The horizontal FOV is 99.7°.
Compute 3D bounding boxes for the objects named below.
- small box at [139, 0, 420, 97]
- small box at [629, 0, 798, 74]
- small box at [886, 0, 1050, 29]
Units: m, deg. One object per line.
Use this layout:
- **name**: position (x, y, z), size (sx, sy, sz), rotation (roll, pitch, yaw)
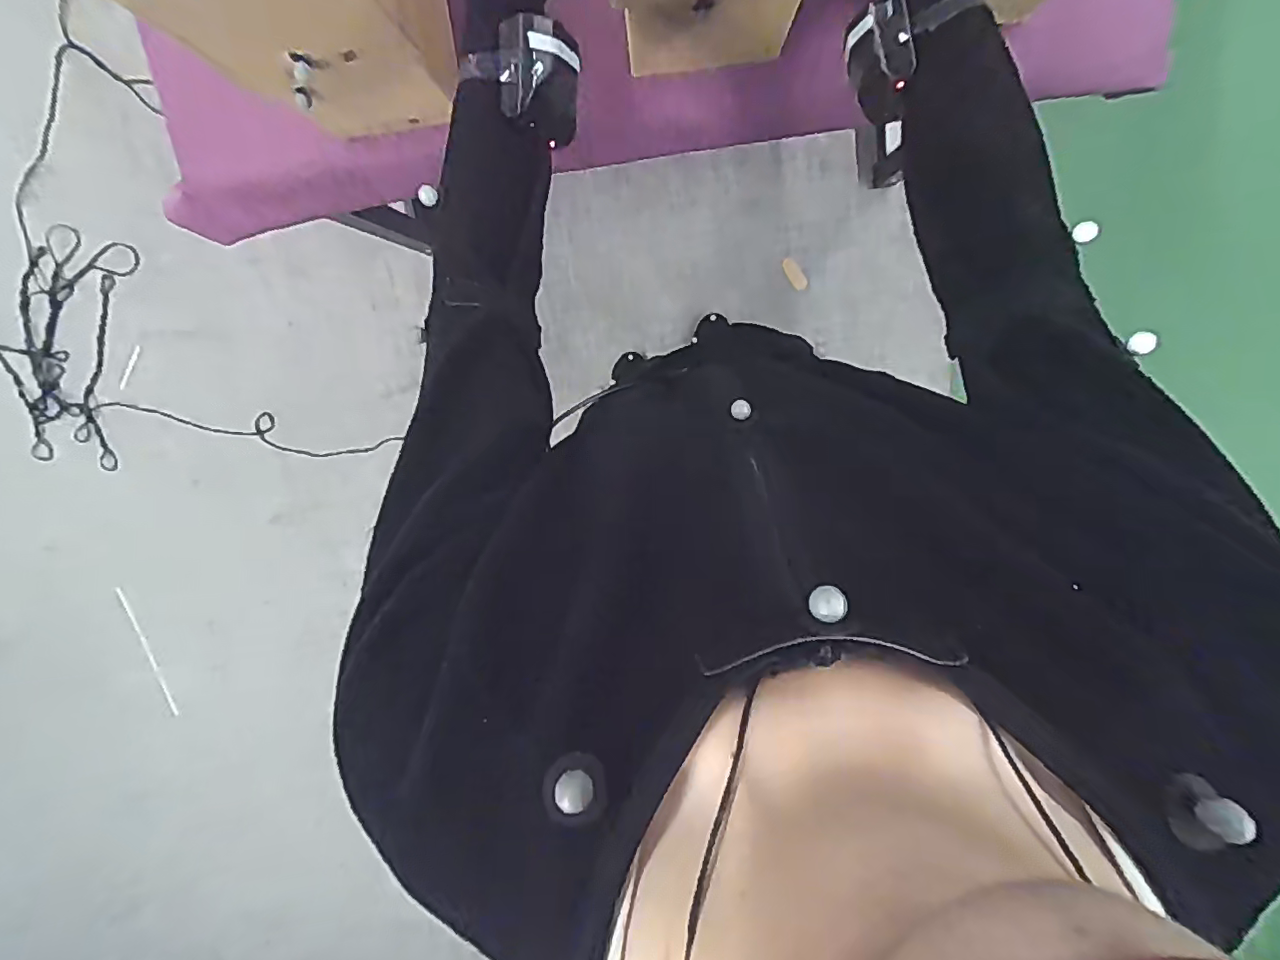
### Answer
- **small box**: position (-0.300, -0.444, 0.417), size (0.168, 0.176, 0.179), rotation (-11, 102, 5)
- **small box**: position (0.071, -0.548, 0.548), size (0.179, 0.176, 0.168), rotation (-5, 103, 3)
- **small box**: position (0.359, -0.582, 0.531), size (0.168, 0.176, 0.179), rotation (-1, 104, 3)
